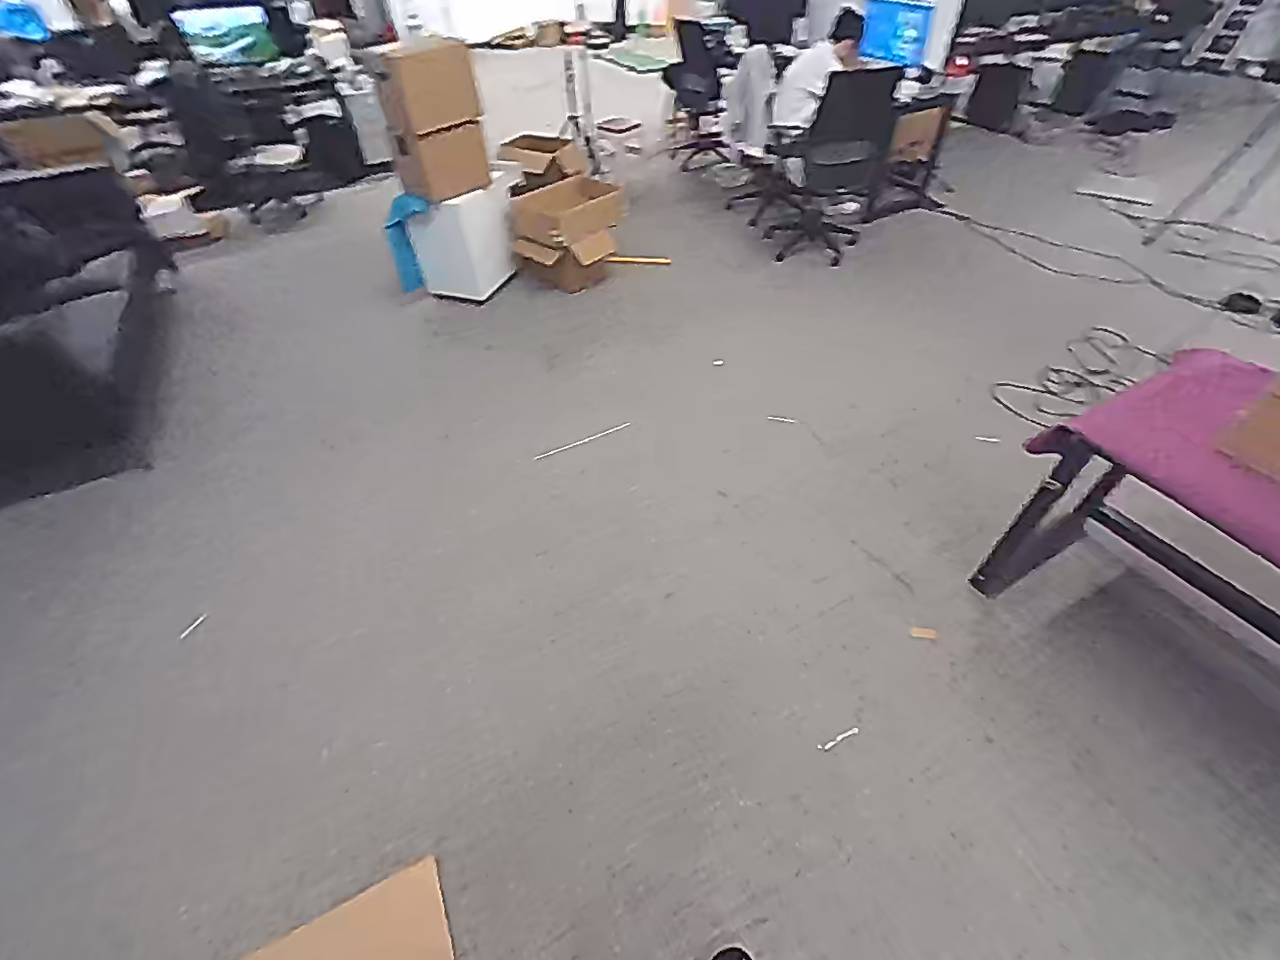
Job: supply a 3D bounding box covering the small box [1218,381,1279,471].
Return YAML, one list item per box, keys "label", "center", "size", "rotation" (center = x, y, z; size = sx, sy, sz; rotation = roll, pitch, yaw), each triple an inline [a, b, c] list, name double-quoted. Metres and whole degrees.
- label: "small box"
  center: [1.451, -0.127, 1.175]
  size: [0.168, 0.176, 0.179]
  rotation: [-22, 50, -17]
